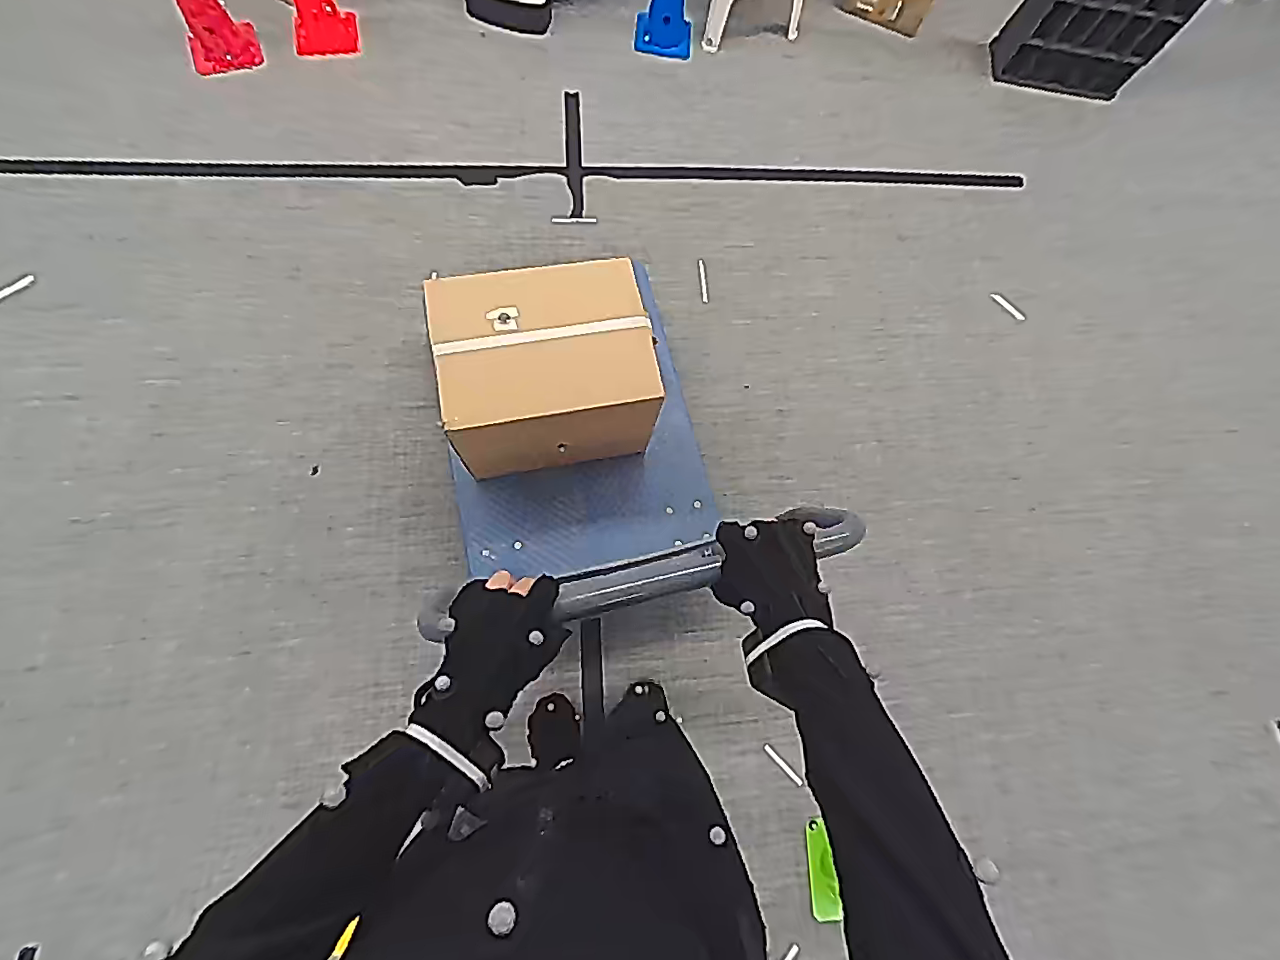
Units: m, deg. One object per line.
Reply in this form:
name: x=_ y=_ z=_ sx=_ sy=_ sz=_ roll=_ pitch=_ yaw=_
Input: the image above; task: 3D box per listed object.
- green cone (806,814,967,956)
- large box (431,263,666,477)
green cone: x=0.502 y=0.831 z=1.072 sx=0.202 sy=0.368 sz=0.200 roll=2 pitch=73 yaw=-7
large box: x=-0.188 y=-0.219 z=1.166 sx=0.408 sy=0.320 sz=0.320 roll=-10 pitch=75 yaw=-9
